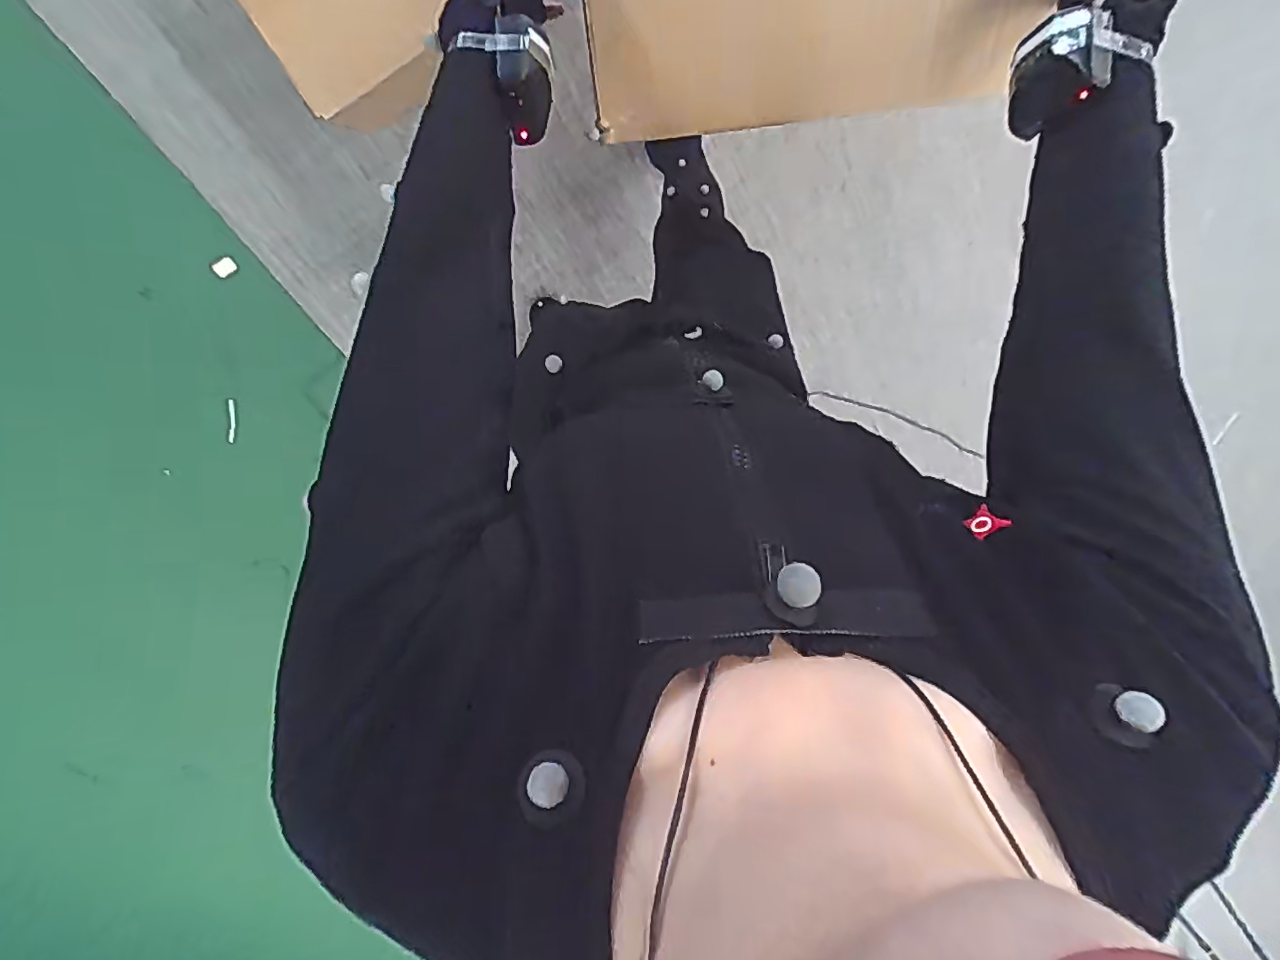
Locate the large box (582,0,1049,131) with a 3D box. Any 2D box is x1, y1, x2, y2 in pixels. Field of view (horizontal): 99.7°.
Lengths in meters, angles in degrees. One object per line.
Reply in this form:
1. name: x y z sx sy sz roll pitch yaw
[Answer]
1. large box: 0.149 -0.571 0.531 0.408 0.320 0.320 -3 128 7
